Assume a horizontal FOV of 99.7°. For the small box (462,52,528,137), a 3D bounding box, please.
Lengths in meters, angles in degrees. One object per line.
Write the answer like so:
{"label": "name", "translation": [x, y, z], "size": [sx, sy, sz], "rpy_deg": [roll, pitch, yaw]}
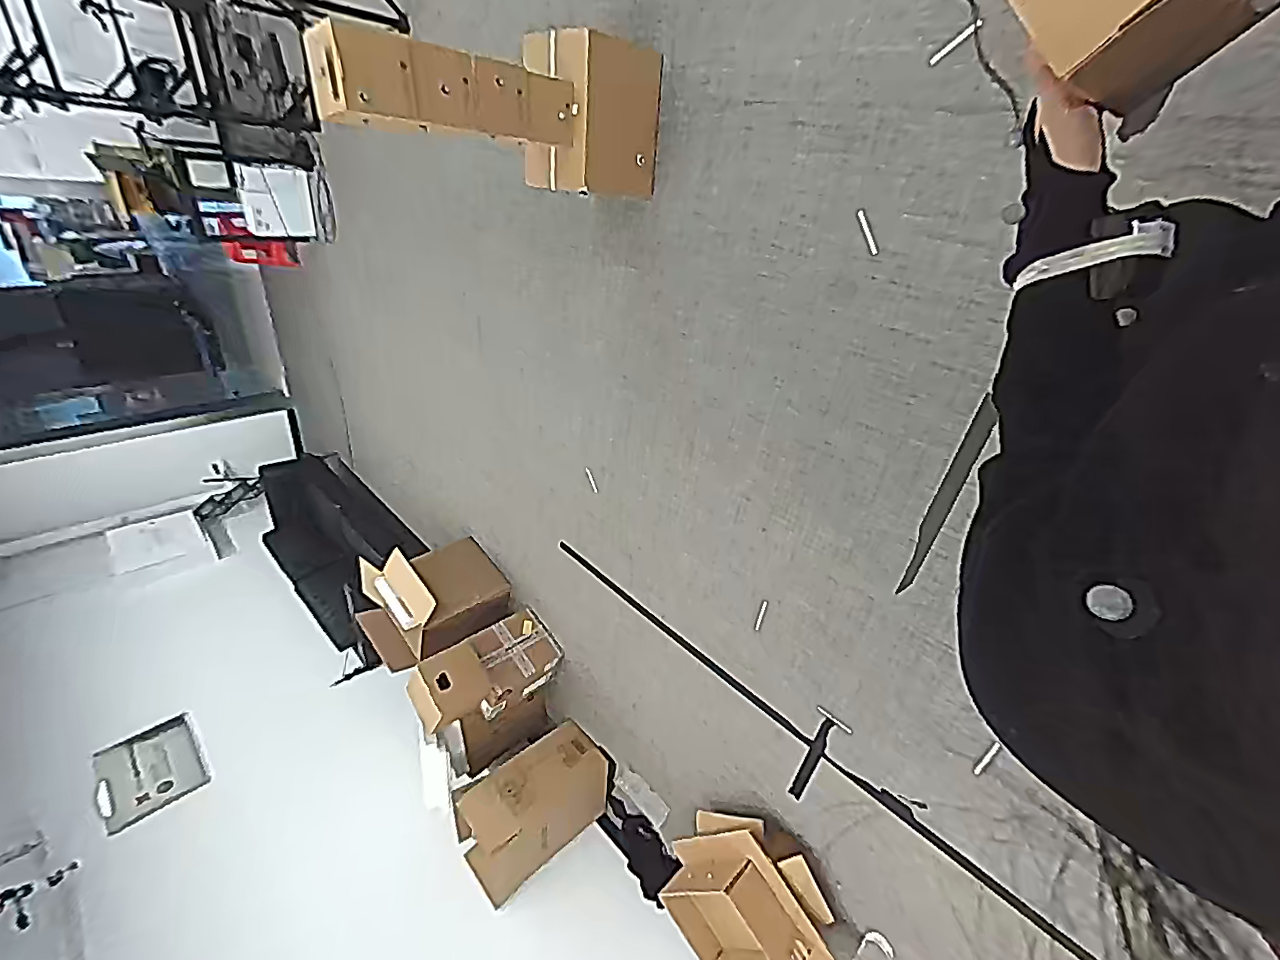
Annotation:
{"label": "small box", "translation": [-0.419, -1.043, 1.472], "size": [0.179, 0.176, 0.168], "rpy_deg": [28, 125, 37]}

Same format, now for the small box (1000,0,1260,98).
{"label": "small box", "translation": [0.317, -0.367, 0.321], "size": [0.168, 0.176, 0.179], "rpy_deg": [-34, 78, 52]}

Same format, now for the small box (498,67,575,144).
{"label": "small box", "translation": [-0.310, -1.089, 1.583], "size": [0.179, 0.176, 0.168], "rpy_deg": [28, 127, 35]}

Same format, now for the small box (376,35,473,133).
{"label": "small box", "translation": [-0.537, -0.991, 1.369], "size": [0.179, 0.176, 0.168], "rpy_deg": [23, 122, 39]}
